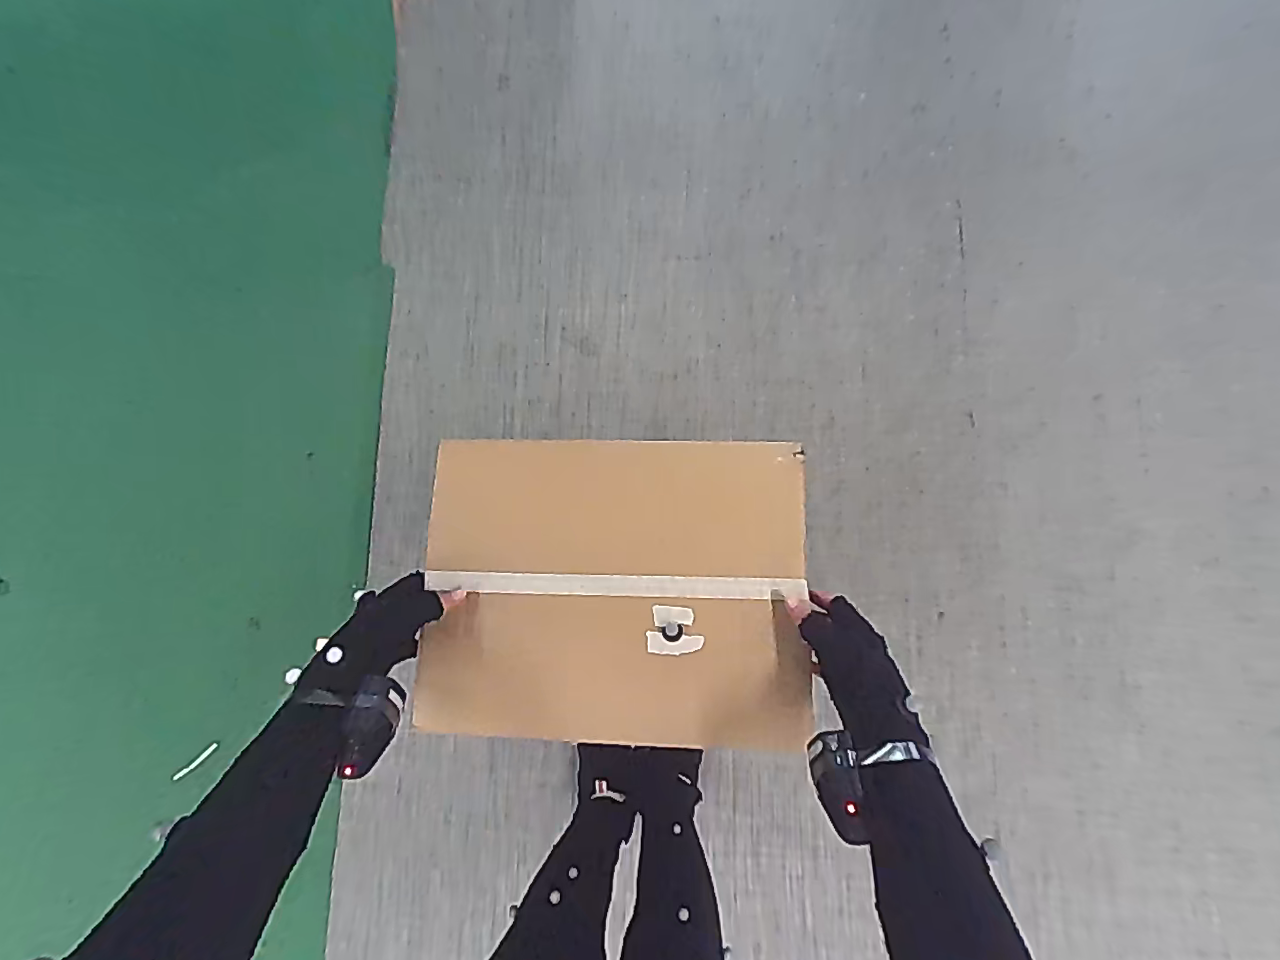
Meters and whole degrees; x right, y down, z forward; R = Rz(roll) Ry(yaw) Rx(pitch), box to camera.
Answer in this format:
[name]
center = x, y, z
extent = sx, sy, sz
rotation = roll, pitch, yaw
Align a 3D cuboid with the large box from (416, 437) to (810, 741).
[large box]
center = -0.020, 0.138, 0.715
extent = 0.408, 0.320, 0.320
rotation = 1, 77, 4
